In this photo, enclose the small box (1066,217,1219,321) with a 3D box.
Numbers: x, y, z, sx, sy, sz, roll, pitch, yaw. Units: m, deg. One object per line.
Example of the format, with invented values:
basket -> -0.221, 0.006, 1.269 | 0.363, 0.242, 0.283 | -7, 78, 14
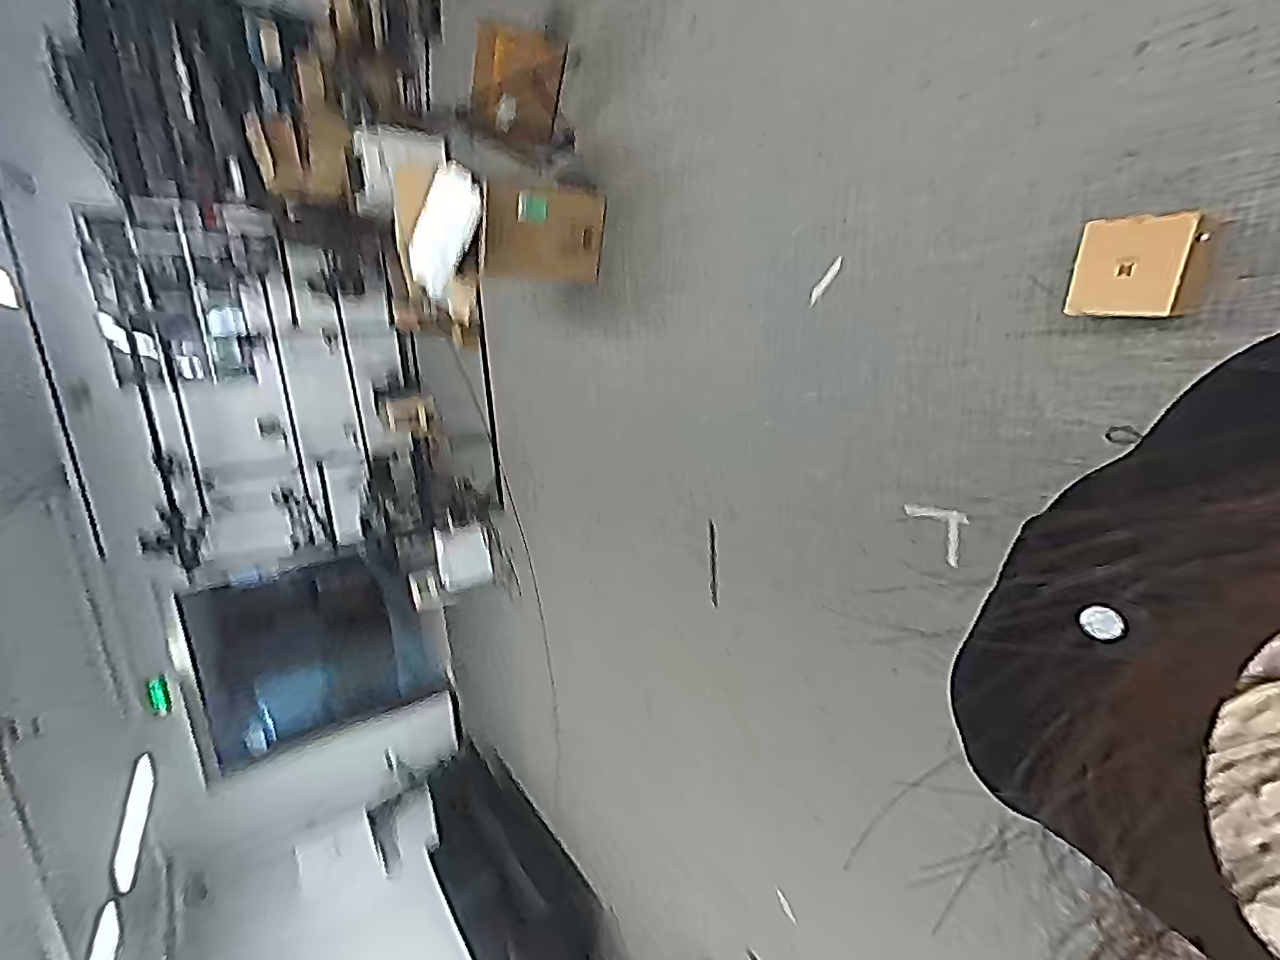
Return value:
small box -> 0.987, -0.408, 1.064 | 0.168, 0.176, 0.179 | 24, 119, 51
